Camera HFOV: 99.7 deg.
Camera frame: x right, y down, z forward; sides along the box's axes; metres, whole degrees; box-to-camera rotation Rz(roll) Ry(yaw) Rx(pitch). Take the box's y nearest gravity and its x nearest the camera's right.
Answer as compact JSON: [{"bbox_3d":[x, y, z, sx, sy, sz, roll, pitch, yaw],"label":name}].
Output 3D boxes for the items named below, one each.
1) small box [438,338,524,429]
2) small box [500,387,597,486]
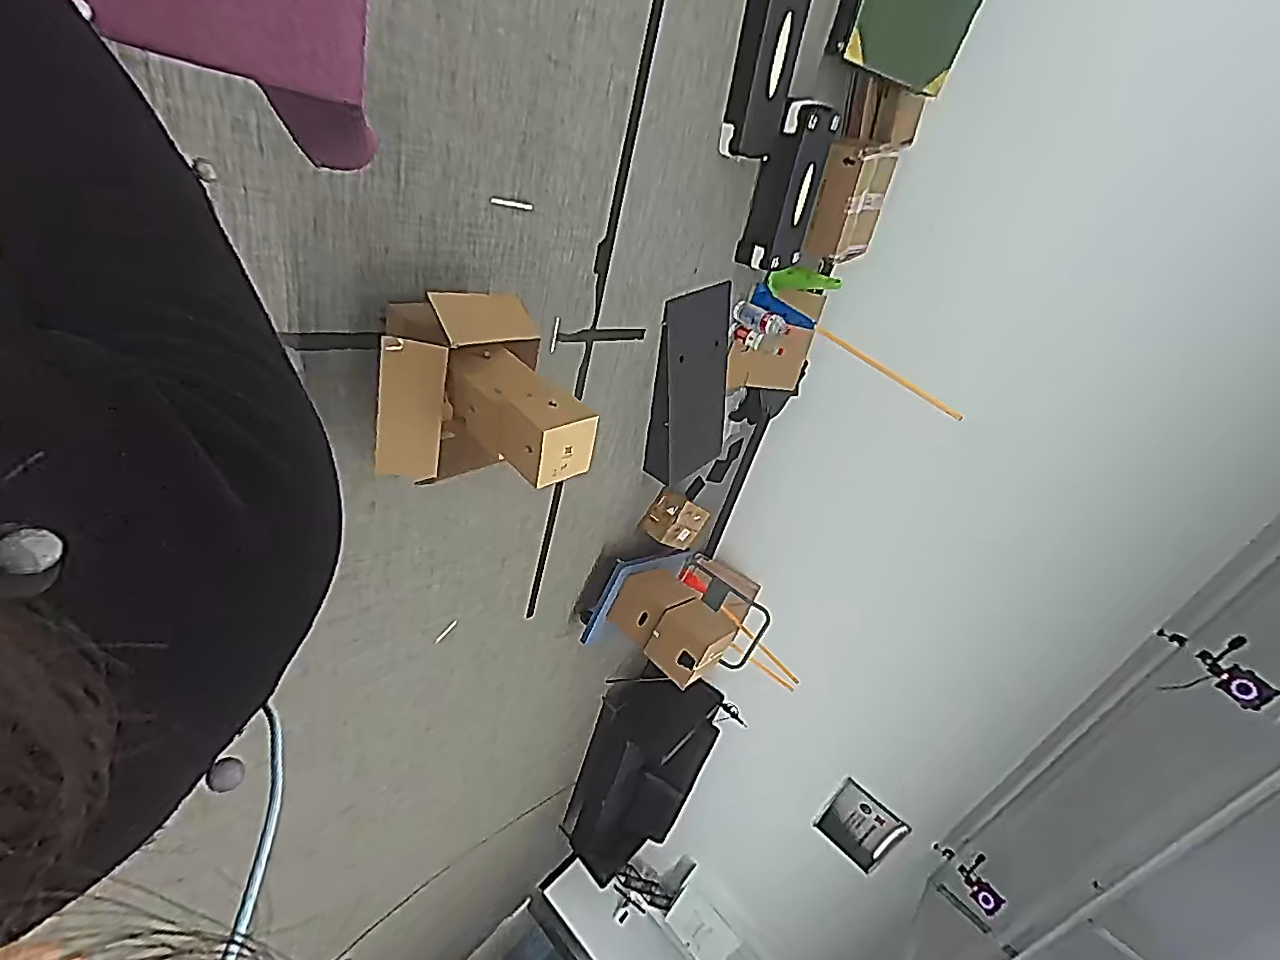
[{"bbox_3d":[-0.450,-0.283,1.539,0.168,0.176,0.179,-33,148,-29],"label":"small box"},{"bbox_3d":[-0.234,-0.119,1.350,0.168,0.176,0.179,-22,141,-39],"label":"small box"}]
